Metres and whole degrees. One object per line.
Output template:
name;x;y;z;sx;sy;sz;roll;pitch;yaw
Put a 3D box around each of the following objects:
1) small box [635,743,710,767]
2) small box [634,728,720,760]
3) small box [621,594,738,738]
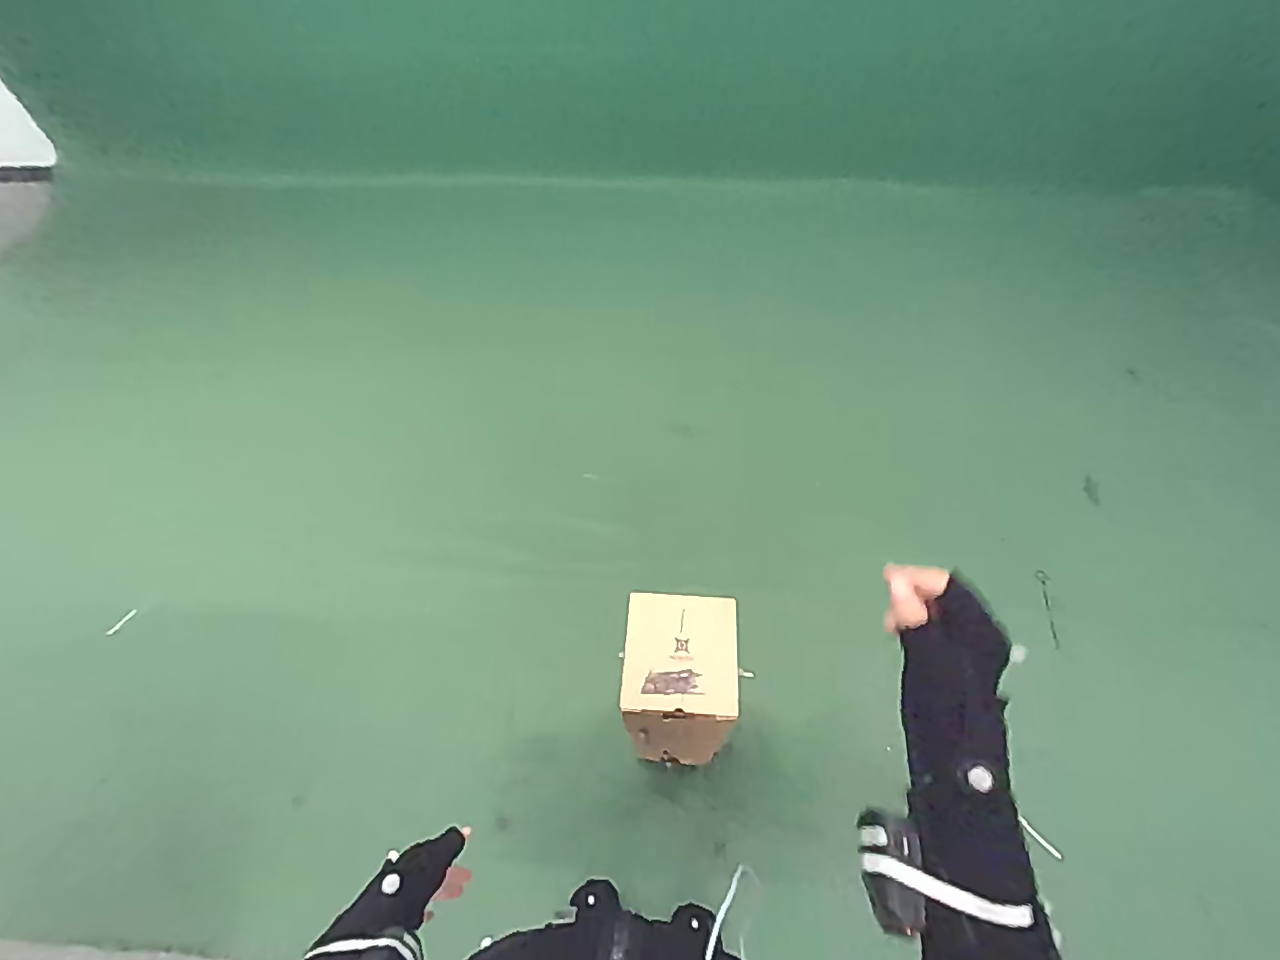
small box;0.082;0.561;1.273;0.168;0.176;0.179;4;56;6
small box;0.076;0.476;1.135;0.168;0.176;0.179;2;57;3
small box;0.065;0.299;0.857;0.168;0.176;0.179;3;55;4
